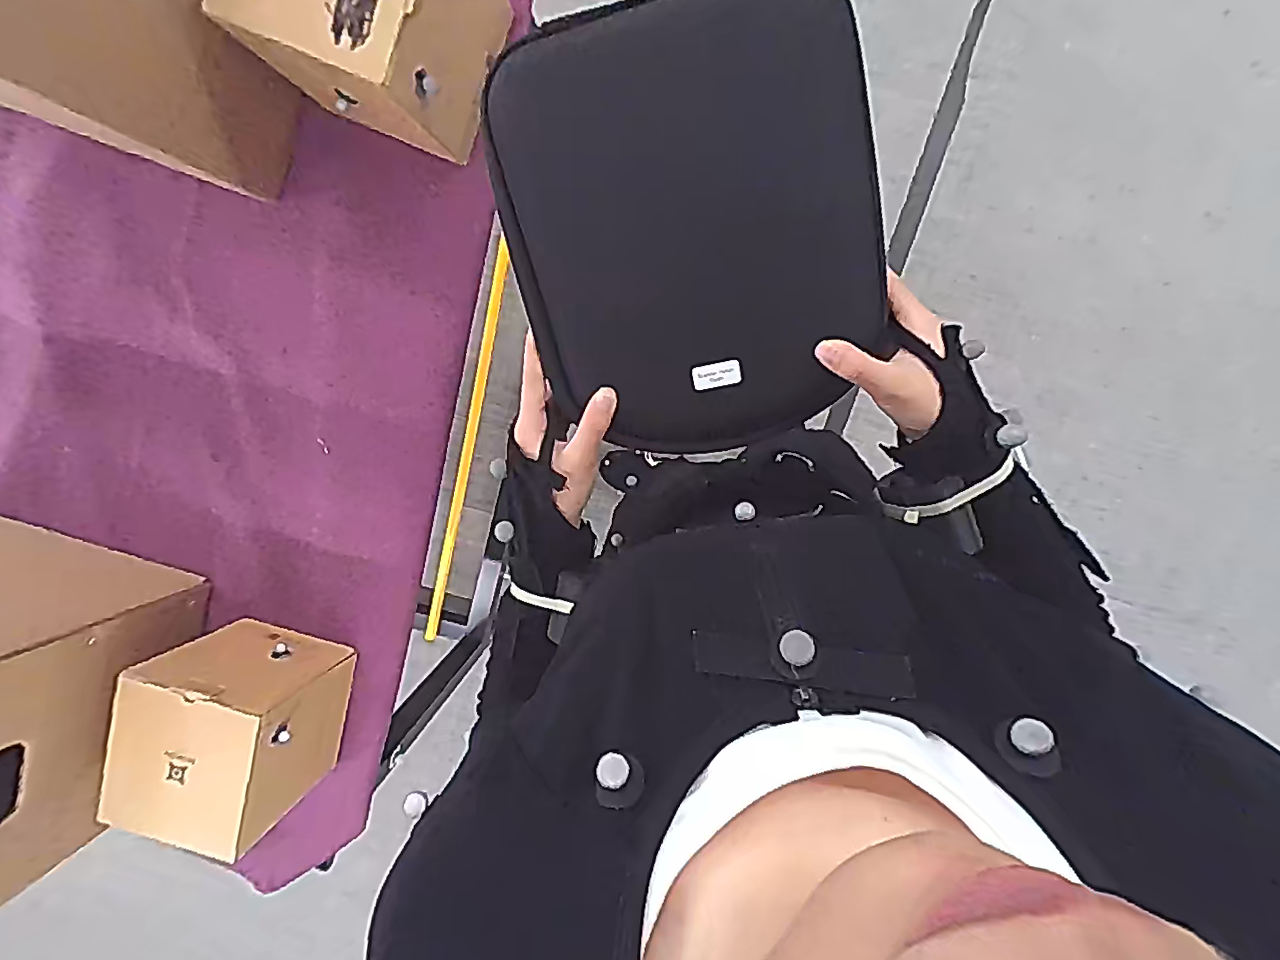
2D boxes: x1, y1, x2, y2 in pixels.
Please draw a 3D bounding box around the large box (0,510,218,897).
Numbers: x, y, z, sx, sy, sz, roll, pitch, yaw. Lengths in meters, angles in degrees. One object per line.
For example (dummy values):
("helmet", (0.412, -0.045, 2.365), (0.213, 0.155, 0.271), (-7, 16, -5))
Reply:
("large box", (-0.814, 0.233, 0.617), (0.408, 0.320, 0.320), (15, 99, 0))
